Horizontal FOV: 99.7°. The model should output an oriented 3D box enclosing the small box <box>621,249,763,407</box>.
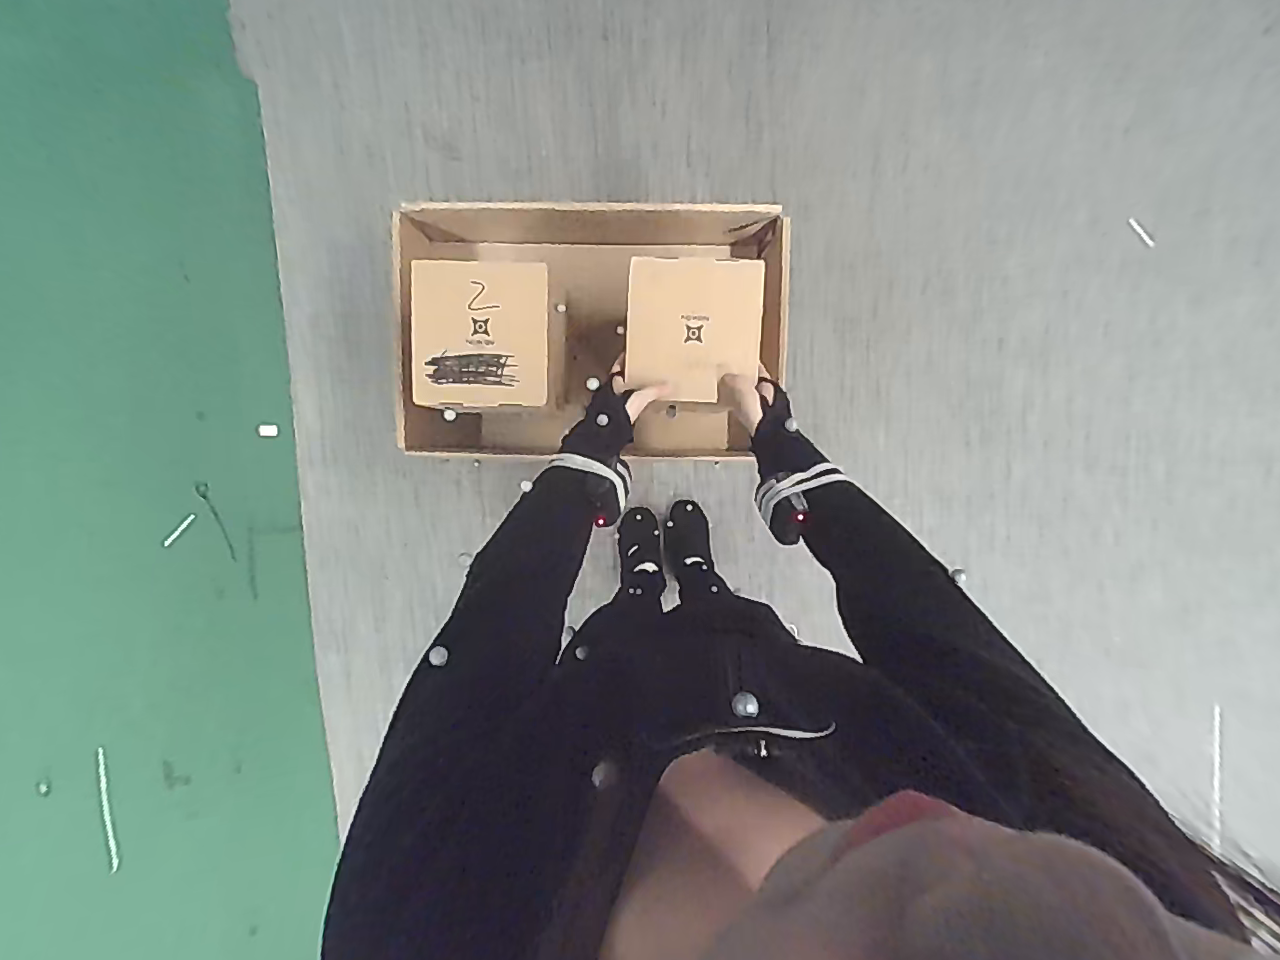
[{"bbox_3d":[0.064,-0.195,0.738,0.168,0.176,0.179,3,96,2],"label":"small box"}]
